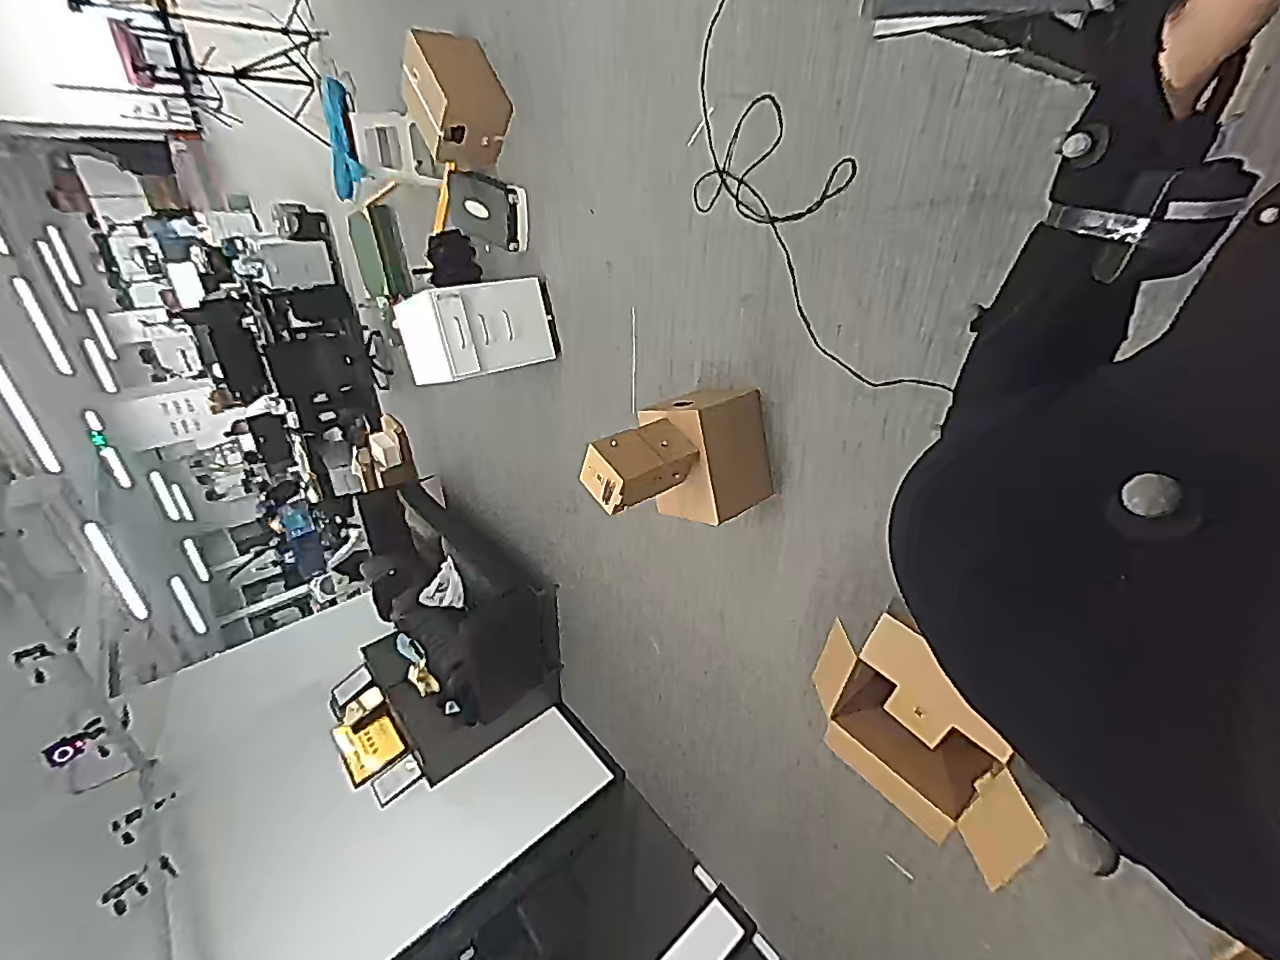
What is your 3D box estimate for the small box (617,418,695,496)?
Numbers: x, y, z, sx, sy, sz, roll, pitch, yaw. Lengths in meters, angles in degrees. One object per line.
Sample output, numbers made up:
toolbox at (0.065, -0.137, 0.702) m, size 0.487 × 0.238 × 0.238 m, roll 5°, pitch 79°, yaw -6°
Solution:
small box at (0.056, -0.082, 1.803) m, size 0.179 × 0.176 × 0.168 m, roll 47°, pitch 139°, yaw 23°
